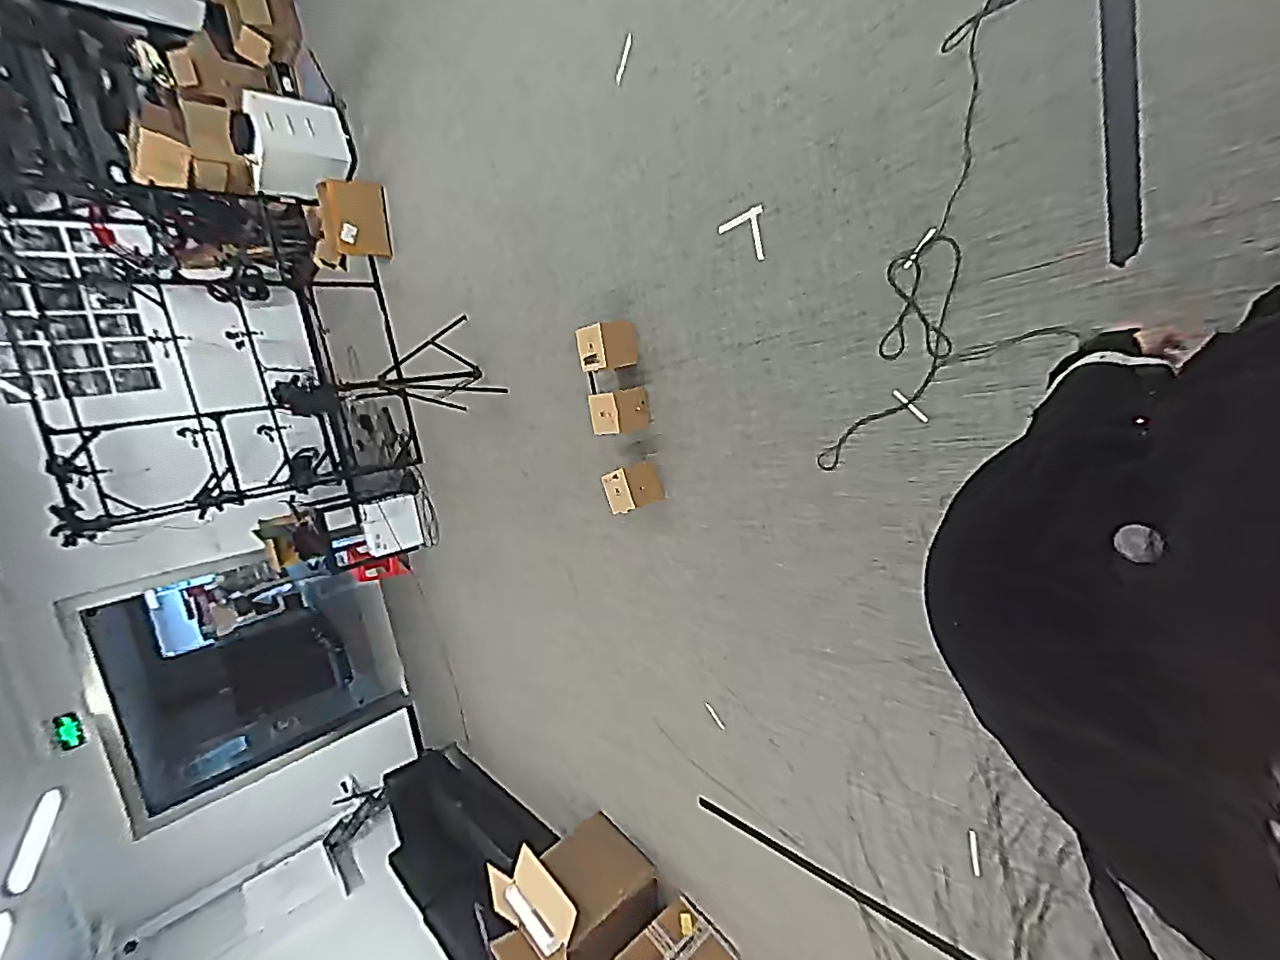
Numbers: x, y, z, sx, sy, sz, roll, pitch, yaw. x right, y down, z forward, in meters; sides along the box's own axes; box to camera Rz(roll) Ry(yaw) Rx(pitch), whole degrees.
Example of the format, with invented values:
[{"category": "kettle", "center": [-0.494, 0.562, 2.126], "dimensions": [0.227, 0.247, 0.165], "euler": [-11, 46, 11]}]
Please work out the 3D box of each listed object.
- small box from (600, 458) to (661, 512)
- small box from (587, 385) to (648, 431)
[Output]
[{"category": "small box", "center": [-0.035, 0.020, 2.305], "dimensions": [0.168, 0.176, 0.179], "euler": [-20, 89, 50]}, {"category": "small box", "center": [-0.092, -0.300, 2.252], "dimensions": [0.179, 0.176, 0.168], "euler": [3, 106, 48]}]
